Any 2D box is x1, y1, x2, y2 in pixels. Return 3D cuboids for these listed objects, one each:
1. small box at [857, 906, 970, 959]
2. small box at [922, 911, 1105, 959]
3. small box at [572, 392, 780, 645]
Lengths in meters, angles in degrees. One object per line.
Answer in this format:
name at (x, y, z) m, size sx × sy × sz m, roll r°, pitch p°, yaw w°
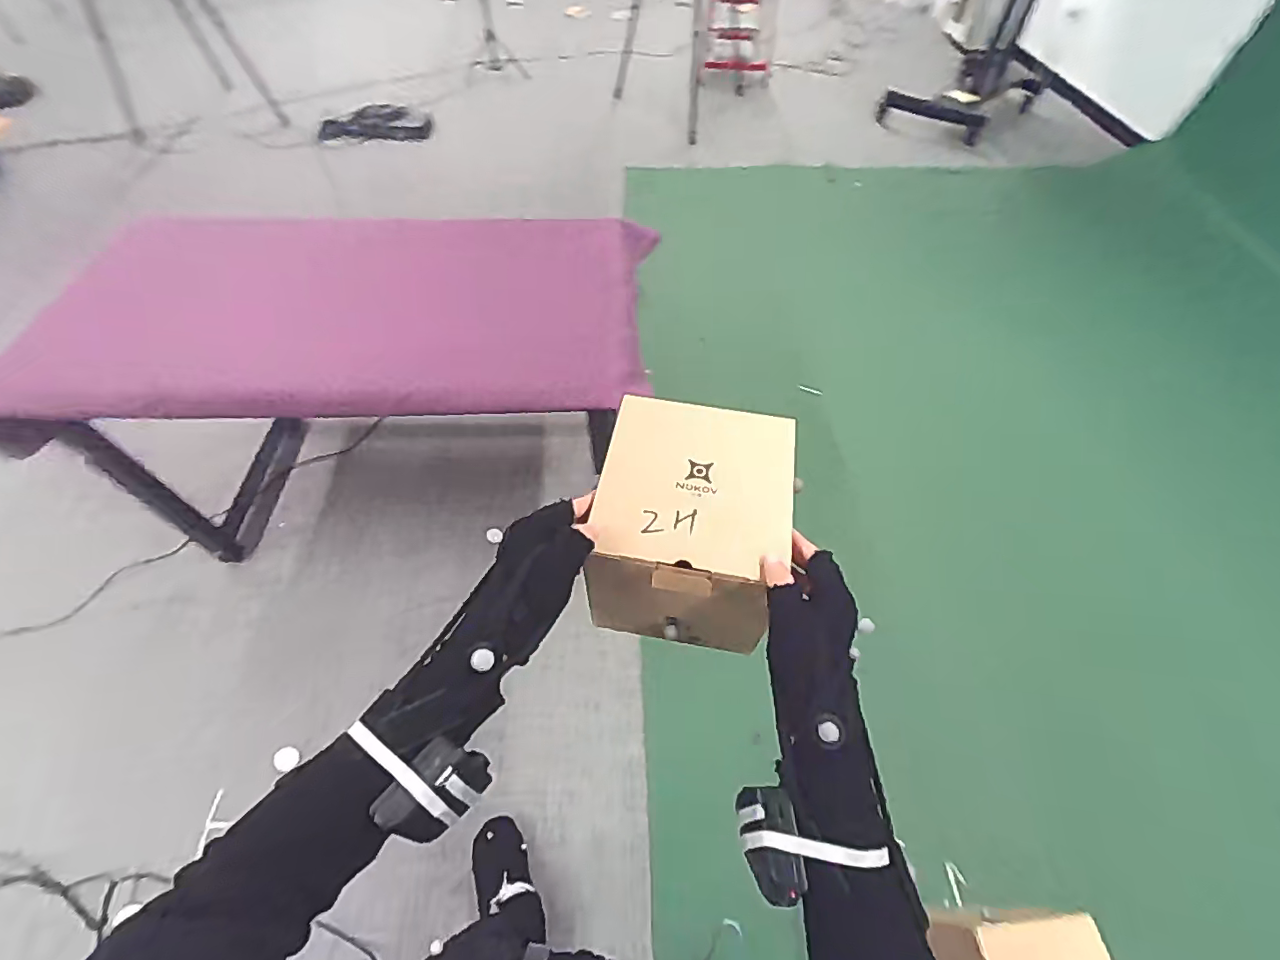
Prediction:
small box at (0.534, 0.925, 1.033) m, size 0.179 × 0.176 × 0.168 m, roll 0°, pitch 55°, yaw -1°
small box at (0.545, 0.730, 0.770) m, size 0.179 × 0.176 × 0.168 m, roll -3°, pitch 55°, yaw -3°
small box at (0.038, 0.041, 0.540) m, size 0.168 × 0.176 × 0.179 m, roll 8°, pitch 55°, yaw 6°
